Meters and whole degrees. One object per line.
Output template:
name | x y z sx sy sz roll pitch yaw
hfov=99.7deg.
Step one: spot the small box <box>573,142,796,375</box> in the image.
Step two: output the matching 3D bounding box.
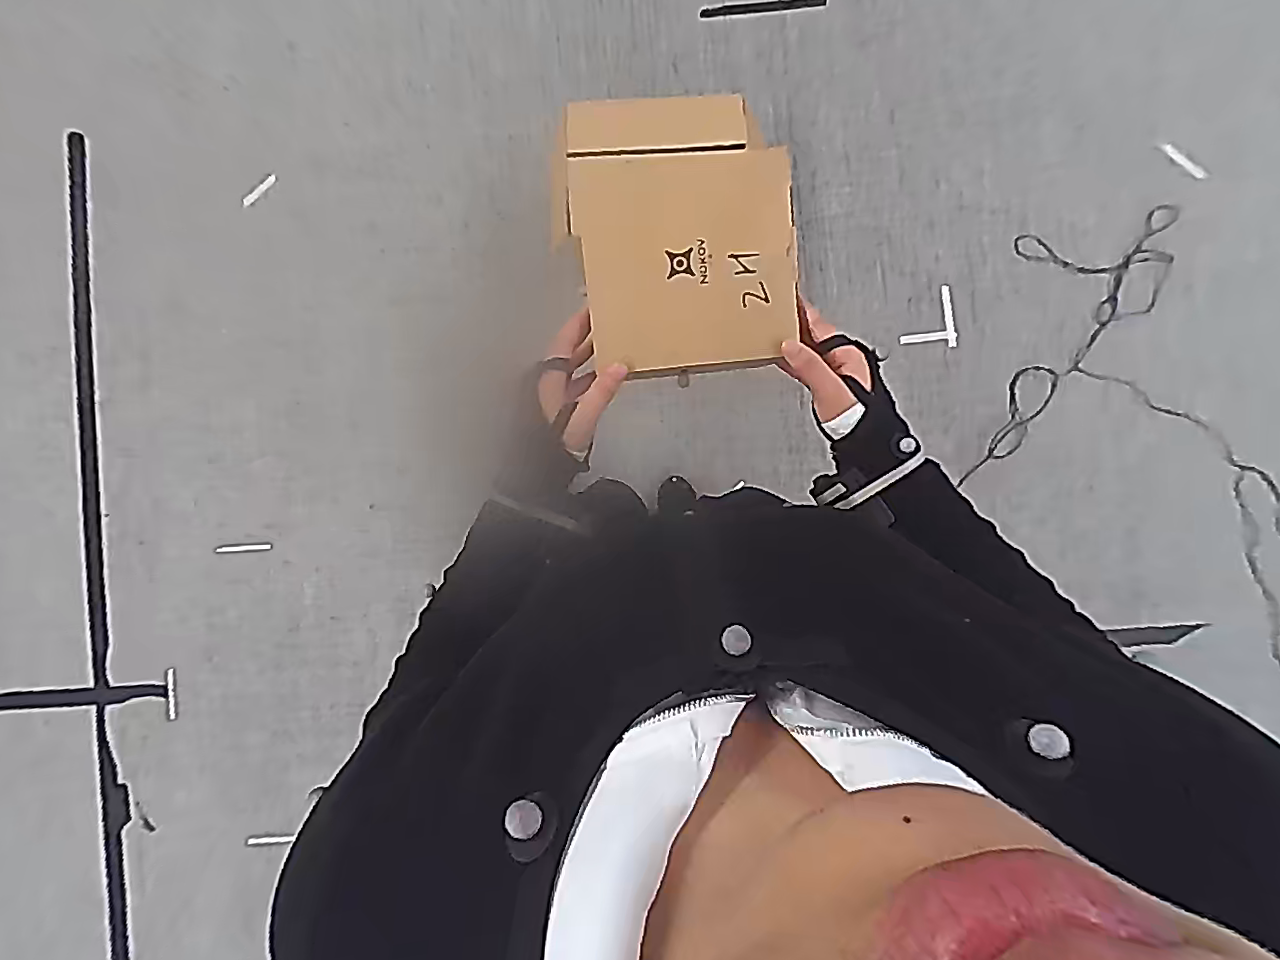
small box | 0.039 -0.196 0.526 0.179 0.176 0.168 -6 99 1
